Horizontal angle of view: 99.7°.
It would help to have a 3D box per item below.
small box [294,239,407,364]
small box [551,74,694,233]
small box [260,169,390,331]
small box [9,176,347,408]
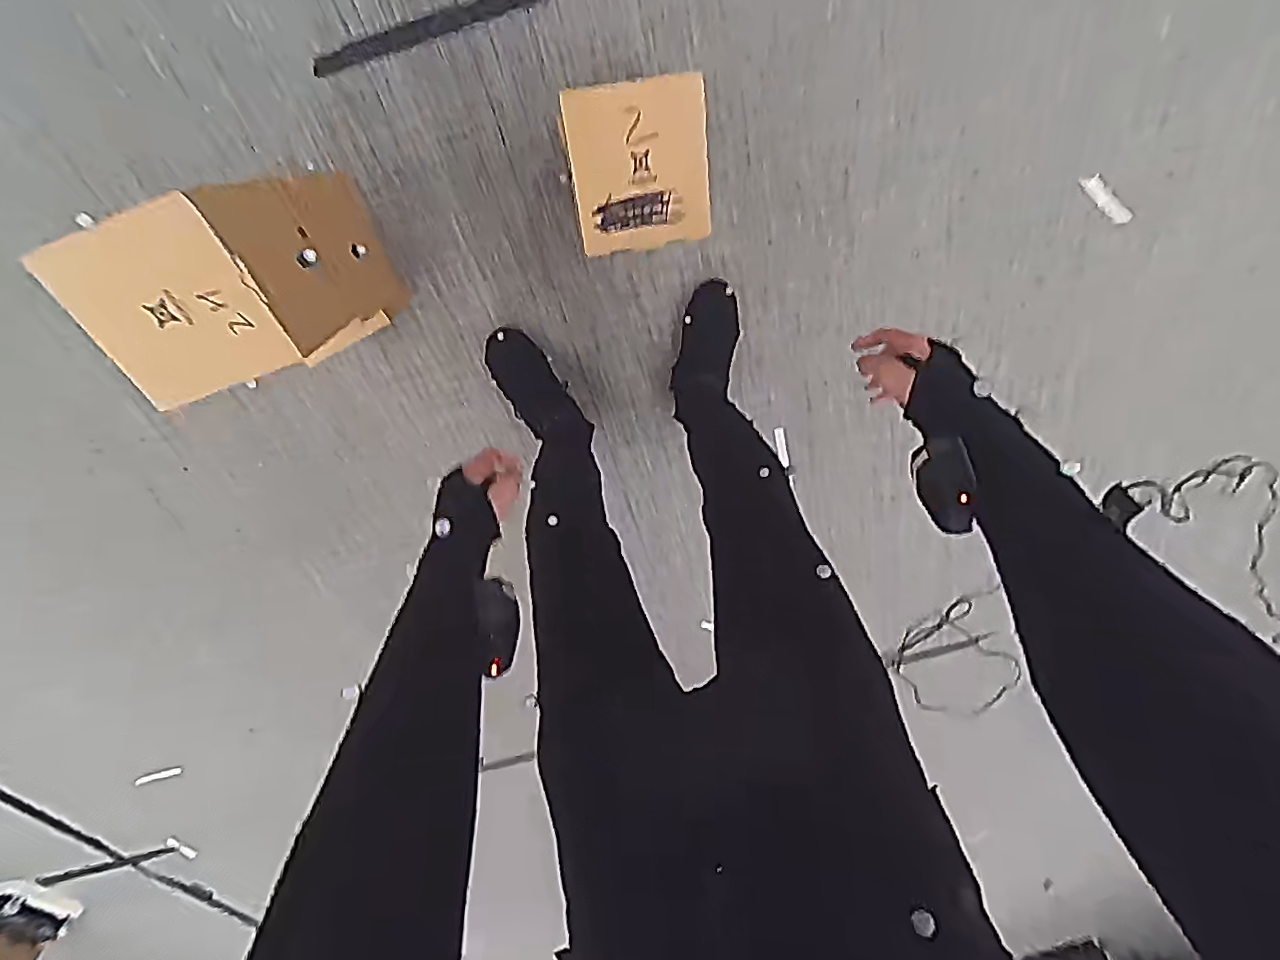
[{"bbox_3d":[-0.516,-0.323,0.882,0.168,0.176,0.179,-25,123,9],"label":"small box"},{"bbox_3d":[-0.029,-0.502,0.839,0.179,0.176,0.168,-16,124,1],"label":"small box"},{"bbox_3d":[-0.461,-0.297,0.712,0.168,0.176,0.179,-12,124,1],"label":"small box"},{"bbox_3d":[-0.457,-0.205,0.576,0.179,0.176,0.168,-19,123,5],"label":"small box"}]
